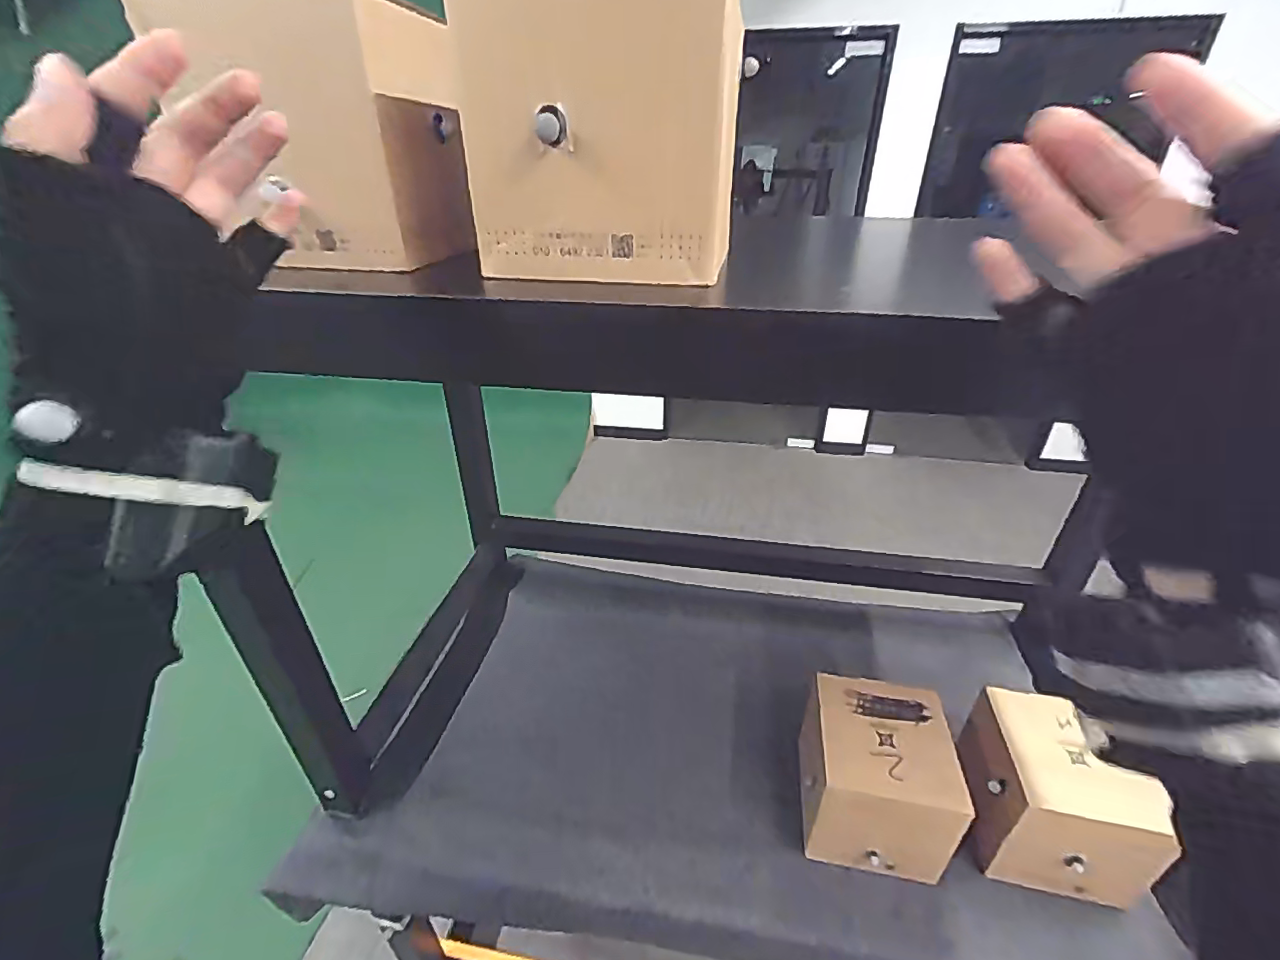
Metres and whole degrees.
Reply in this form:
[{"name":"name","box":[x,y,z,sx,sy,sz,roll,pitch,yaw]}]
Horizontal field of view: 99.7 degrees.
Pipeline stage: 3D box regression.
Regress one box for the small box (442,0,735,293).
[{"name":"small box","box":[-0.019,-0.243,0.410,0.168,0.176,0.179,5,30,10]}]

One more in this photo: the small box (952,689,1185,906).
[{"name":"small box","box":[0.542,0.416,0.718,0.168,0.176,0.179,7,30,12]}]

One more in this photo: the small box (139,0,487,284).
[{"name":"small box","box":[-0.238,-0.272,0.455,0.168,0.176,0.179,6,31,9]}]
